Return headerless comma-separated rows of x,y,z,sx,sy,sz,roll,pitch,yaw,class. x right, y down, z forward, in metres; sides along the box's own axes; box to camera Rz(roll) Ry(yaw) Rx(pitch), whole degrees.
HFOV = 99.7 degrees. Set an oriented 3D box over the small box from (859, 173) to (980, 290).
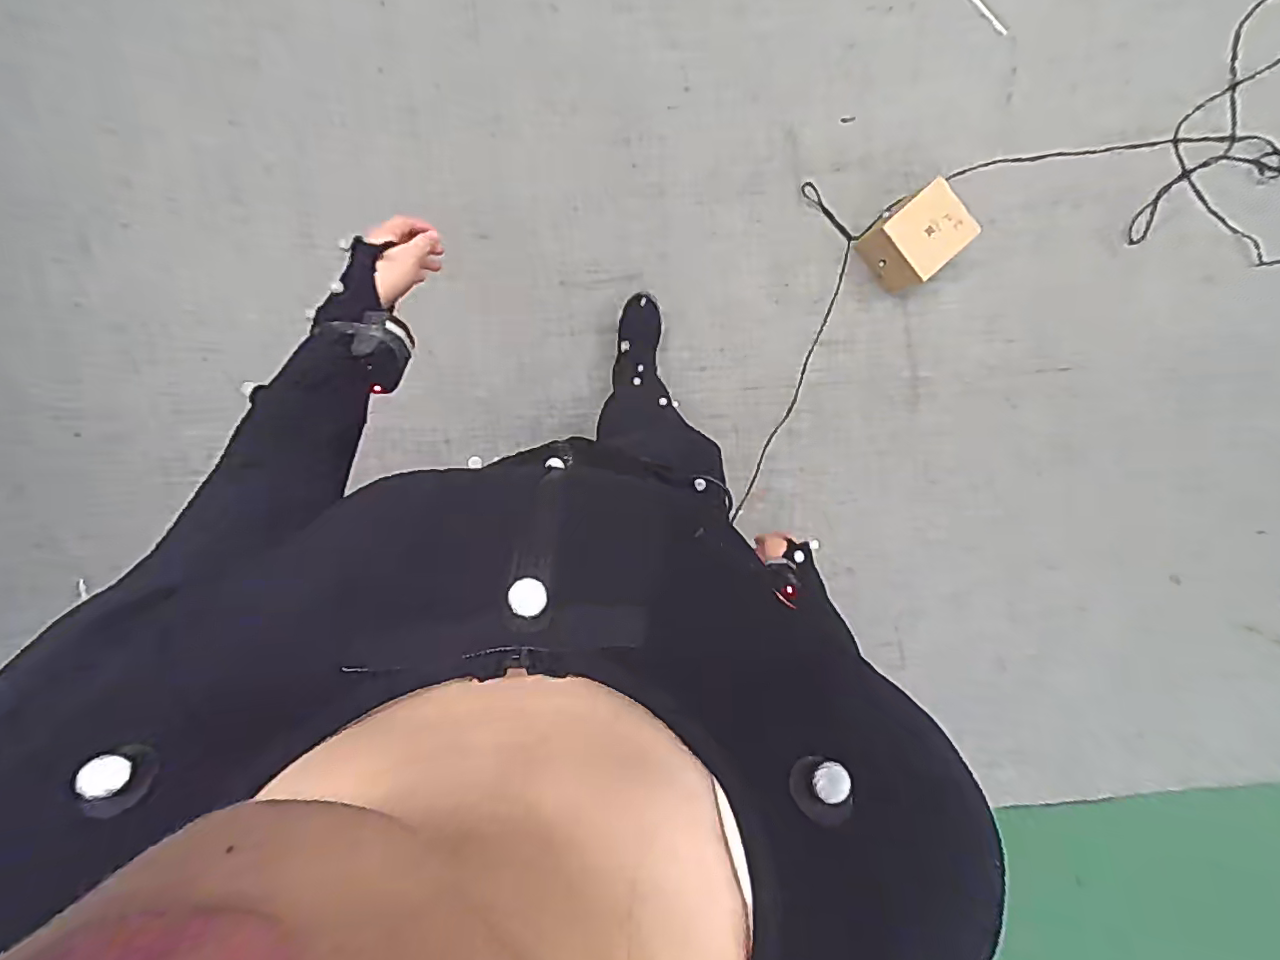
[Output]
0.663,-0.592,1.316,0.179,0.176,0.168,-42,98,5,small box
